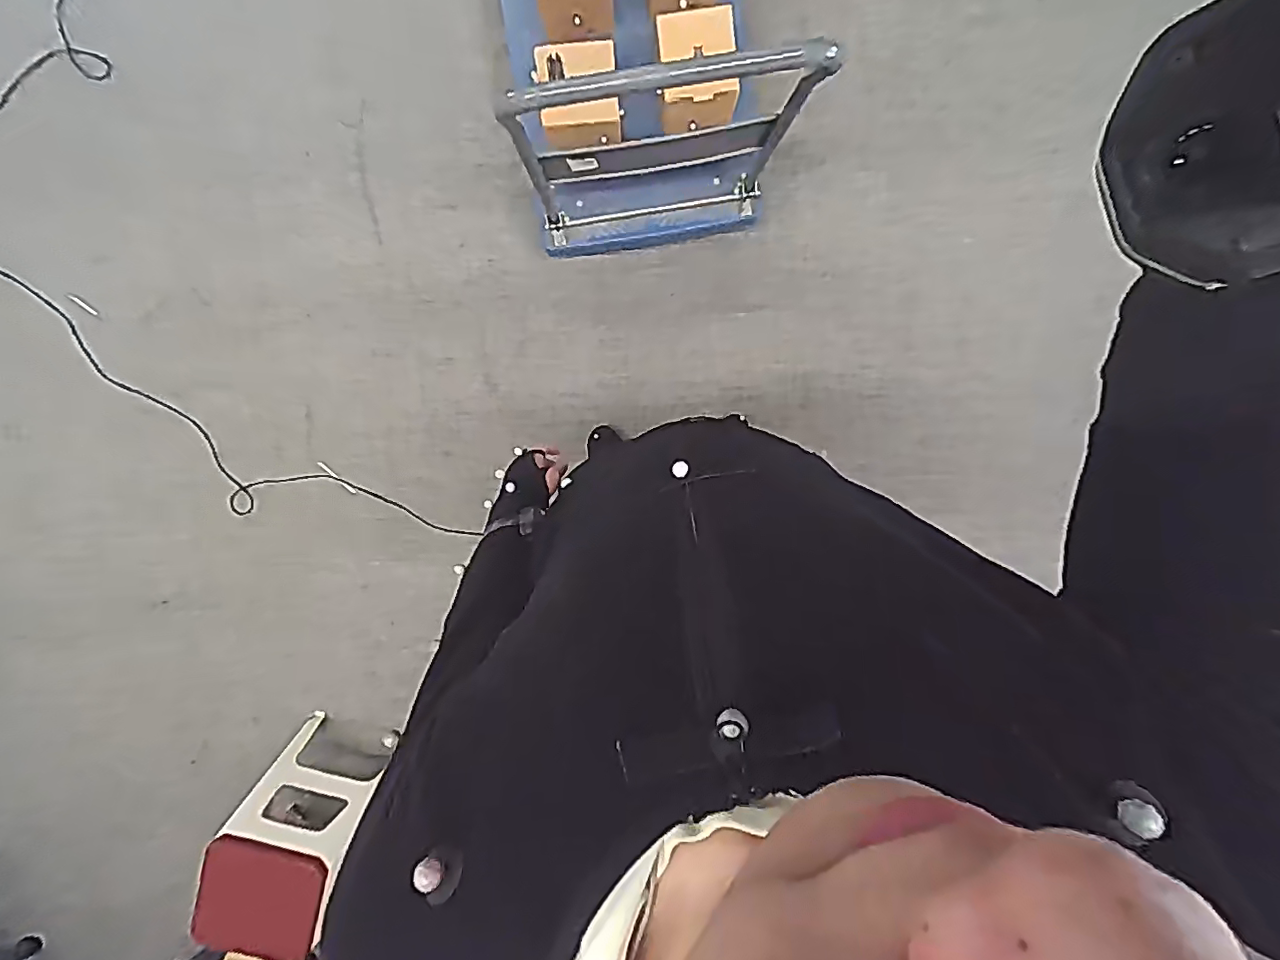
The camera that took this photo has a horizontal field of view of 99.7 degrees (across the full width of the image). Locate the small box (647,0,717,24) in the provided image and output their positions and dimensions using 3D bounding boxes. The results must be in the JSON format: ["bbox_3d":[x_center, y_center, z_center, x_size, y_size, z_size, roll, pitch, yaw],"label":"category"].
[{"bbox_3d":[0.087,-1.195,1.222,0.168,0.176,0.179,-12,98,3],"label":"small box"}]

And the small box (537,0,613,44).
[{"bbox_3d":[-0.158,-1.141,1.231,0.168,0.176,0.179,-12,97,1],"label":"small box"}]

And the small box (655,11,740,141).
[{"bbox_3d":[0.128,-0.930,1.257,0.168,0.176,0.179,-7,98,1],"label":"small box"}]
